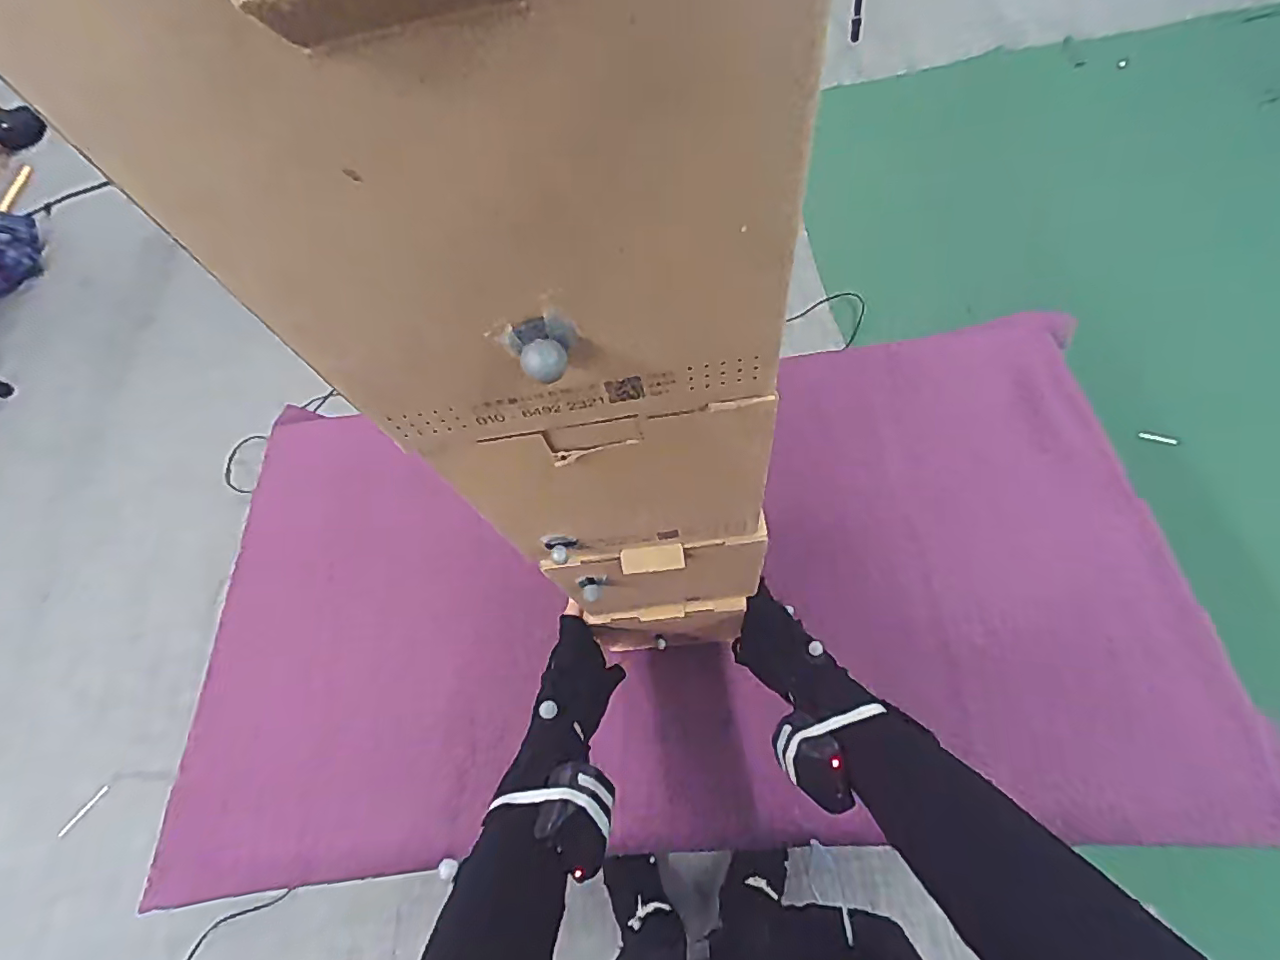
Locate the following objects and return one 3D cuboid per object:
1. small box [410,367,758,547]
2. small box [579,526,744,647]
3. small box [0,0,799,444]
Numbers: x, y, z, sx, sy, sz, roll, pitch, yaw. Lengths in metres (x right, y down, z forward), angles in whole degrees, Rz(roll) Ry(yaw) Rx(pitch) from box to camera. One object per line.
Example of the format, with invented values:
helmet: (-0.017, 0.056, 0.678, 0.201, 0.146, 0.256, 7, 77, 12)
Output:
small box: (-0.021, -0.065, 0.349, 0.168, 0.176, 0.179, -8, 62, 5)
small box: (0.026, 0.090, 0.637, 0.168, 0.176, 0.179, -7, 65, 5)
small box: (-0.048, -0.137, 0.203, 0.168, 0.176, 0.179, -9, 63, 5)
